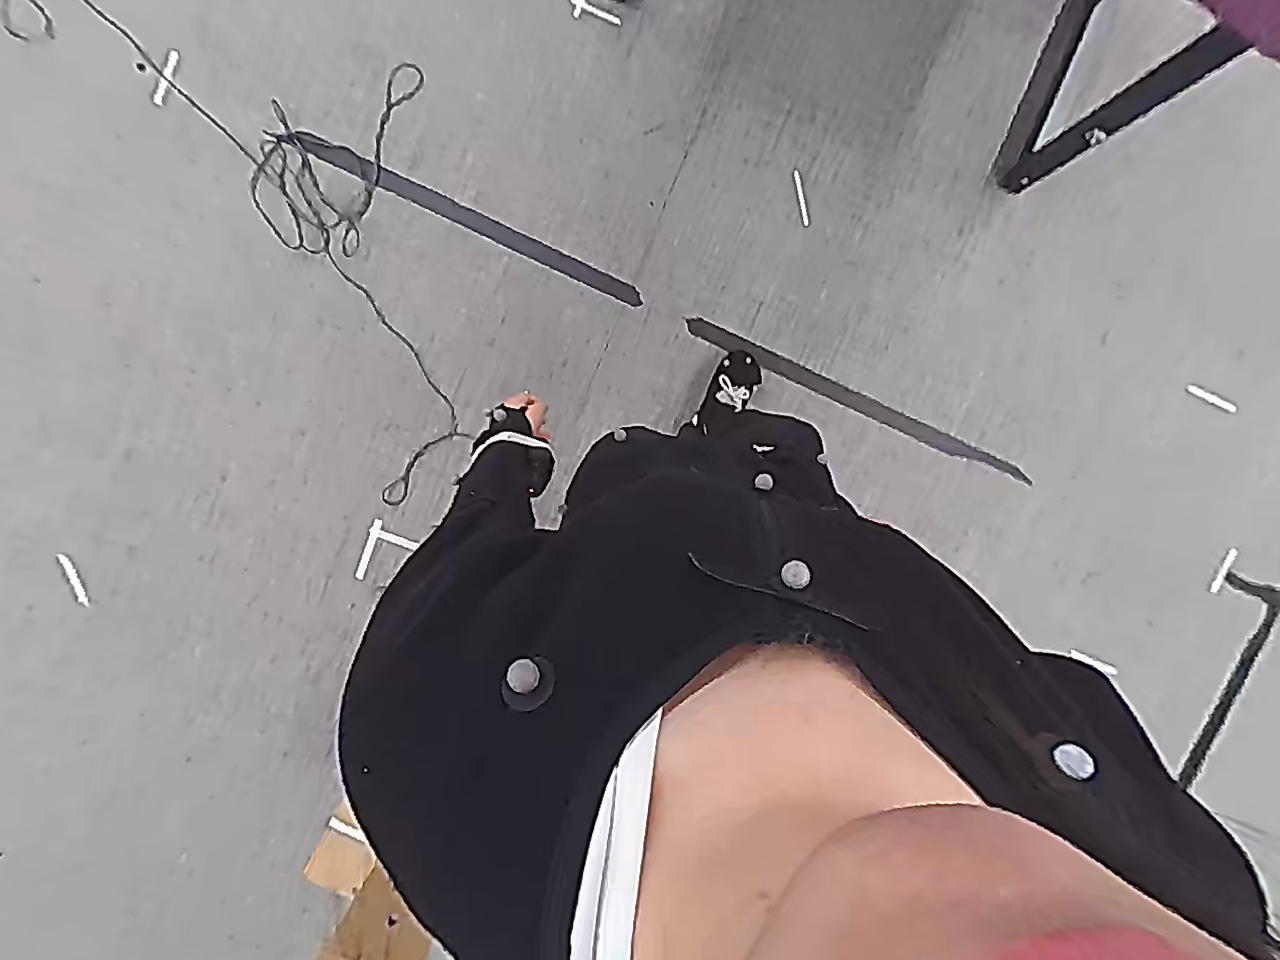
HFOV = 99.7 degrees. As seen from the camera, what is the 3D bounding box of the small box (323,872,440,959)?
[{"bbox_3d":[-0.489,0.872,0.982,0.168,0.176,0.179,28,93,-4],"label":"small box"}]
